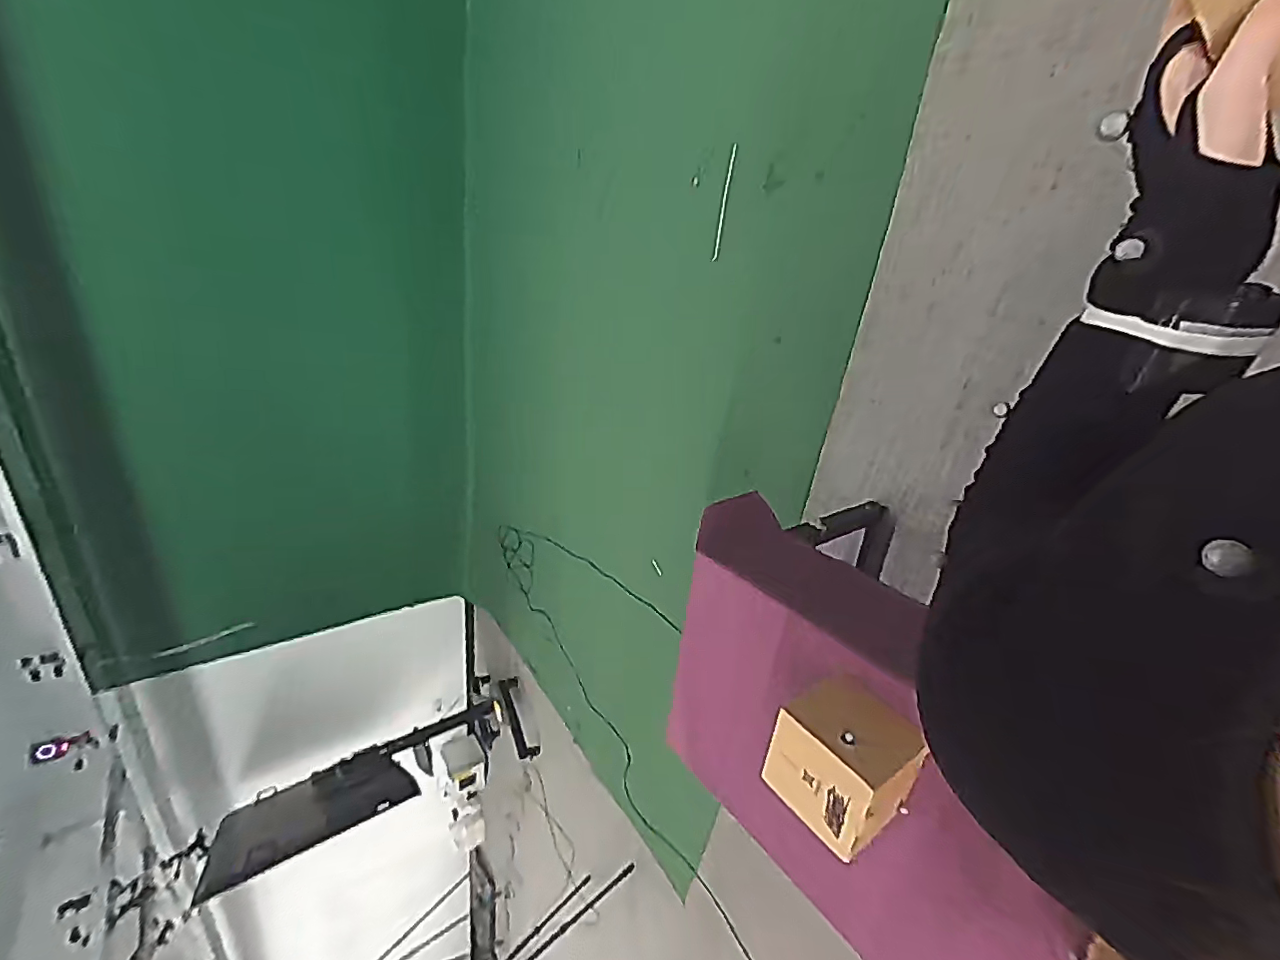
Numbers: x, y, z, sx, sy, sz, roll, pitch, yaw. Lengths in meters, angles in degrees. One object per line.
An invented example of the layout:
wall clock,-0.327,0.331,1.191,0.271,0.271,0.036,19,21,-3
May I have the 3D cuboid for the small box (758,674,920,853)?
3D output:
small box,0.333,0.459,0.908,0.179,0.176,0.168,33,124,45
